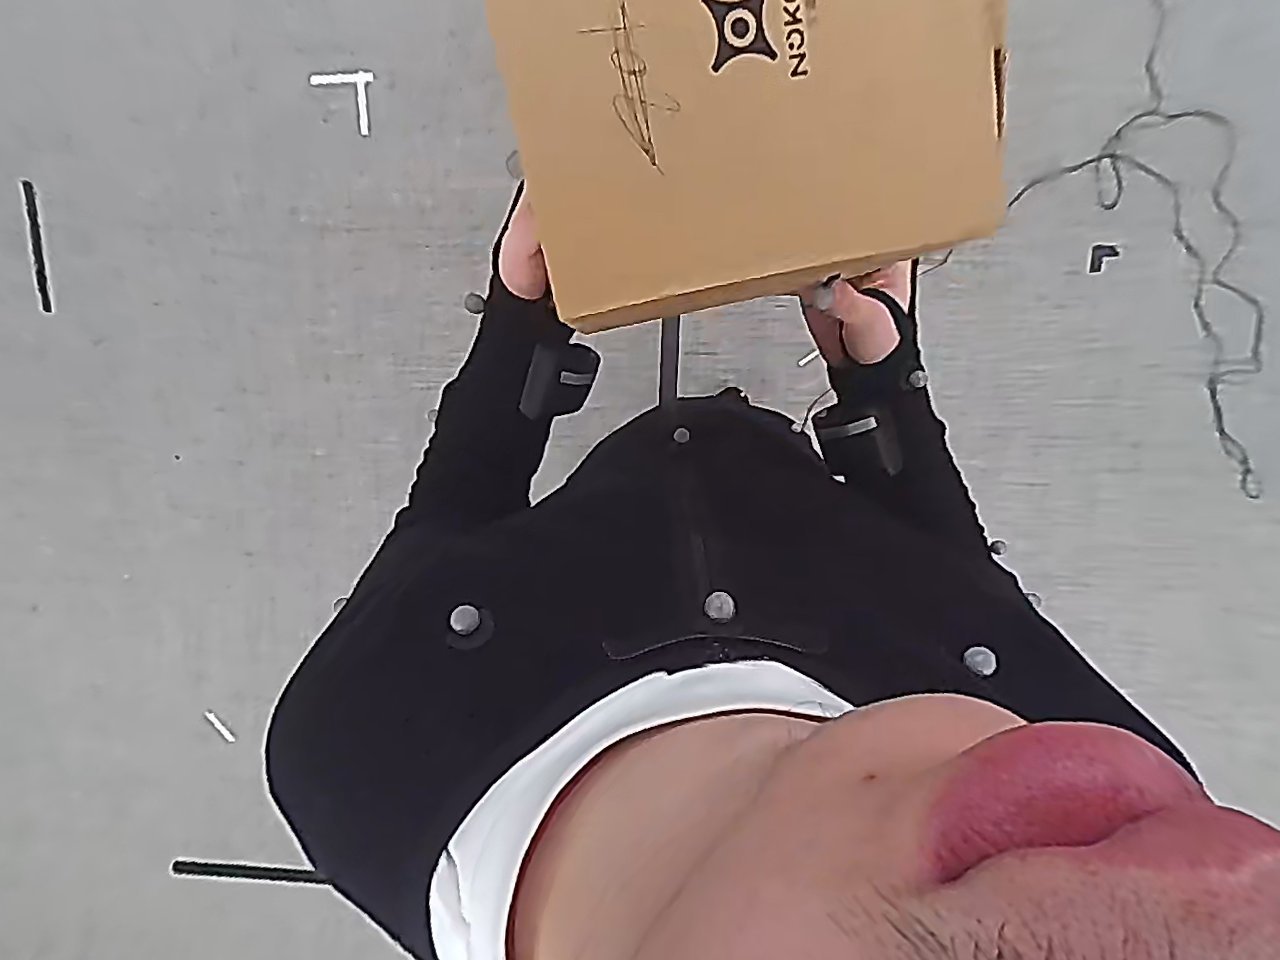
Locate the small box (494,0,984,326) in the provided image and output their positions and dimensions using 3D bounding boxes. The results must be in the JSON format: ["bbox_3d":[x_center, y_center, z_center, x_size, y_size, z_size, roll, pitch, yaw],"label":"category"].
[{"bbox_3d":[0.033,-0.181,0.276,0.179,0.176,0.168,-13,103,0],"label":"small box"}]
